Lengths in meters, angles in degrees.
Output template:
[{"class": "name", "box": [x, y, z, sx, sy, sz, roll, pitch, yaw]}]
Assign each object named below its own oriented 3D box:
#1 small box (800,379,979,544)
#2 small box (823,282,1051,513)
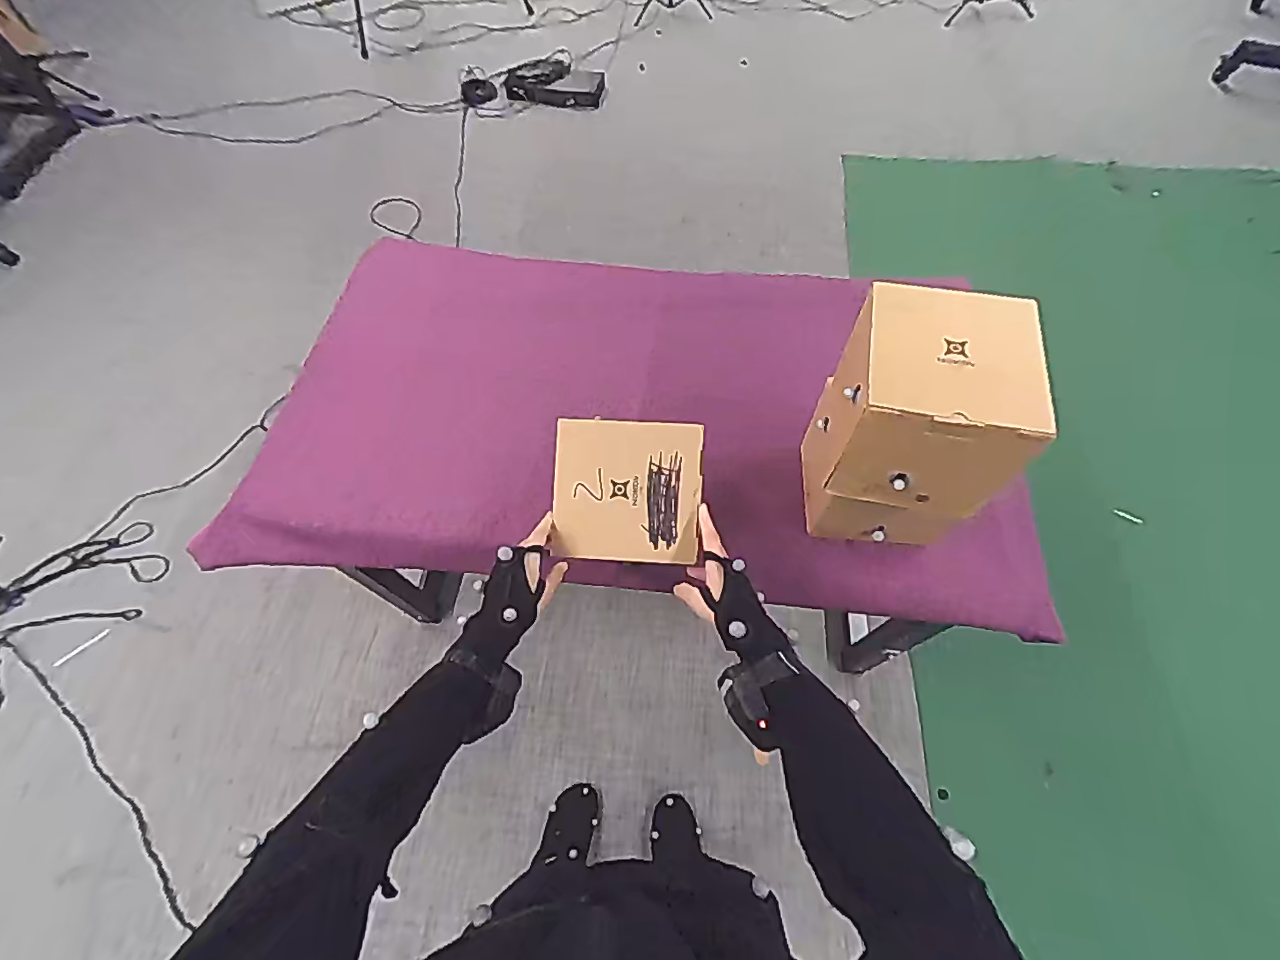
[{"class": "small box", "box": [0.332, -0.020, 0.750, 0.179, 0.176, 0.168, 3, 59, 5]}, {"class": "small box", "box": [0.309, -0.087, 0.601, 0.168, 0.176, 0.179, 10, 61, 9]}]
